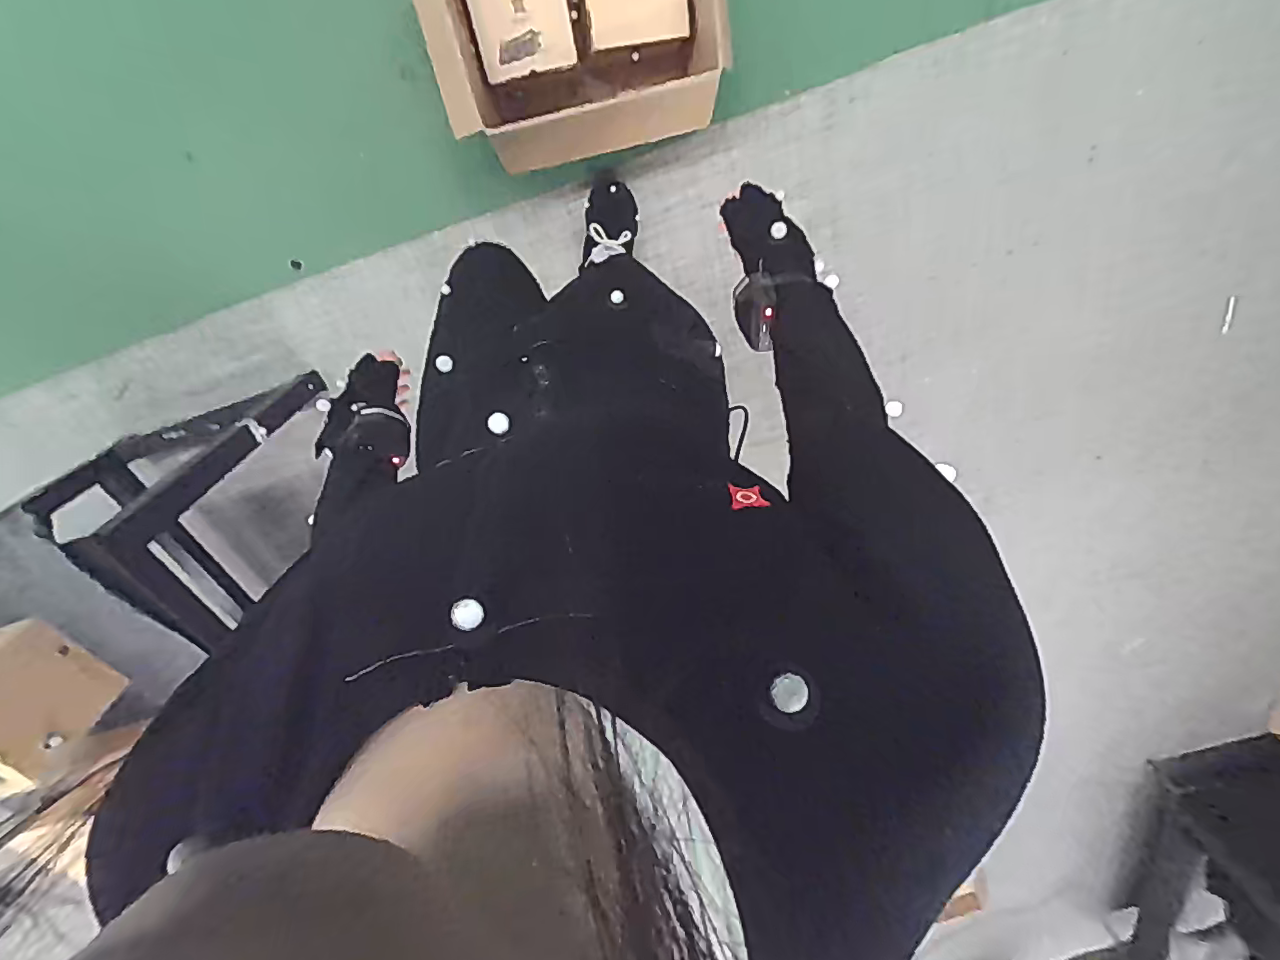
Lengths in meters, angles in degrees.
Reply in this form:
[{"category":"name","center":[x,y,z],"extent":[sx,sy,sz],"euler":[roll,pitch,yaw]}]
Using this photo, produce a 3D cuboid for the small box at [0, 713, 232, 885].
[{"category":"small box","center":[-0.836,0.518,0.887],"extent":[0.179,0.176,0.168],"euler":[-18,122,5]}]
